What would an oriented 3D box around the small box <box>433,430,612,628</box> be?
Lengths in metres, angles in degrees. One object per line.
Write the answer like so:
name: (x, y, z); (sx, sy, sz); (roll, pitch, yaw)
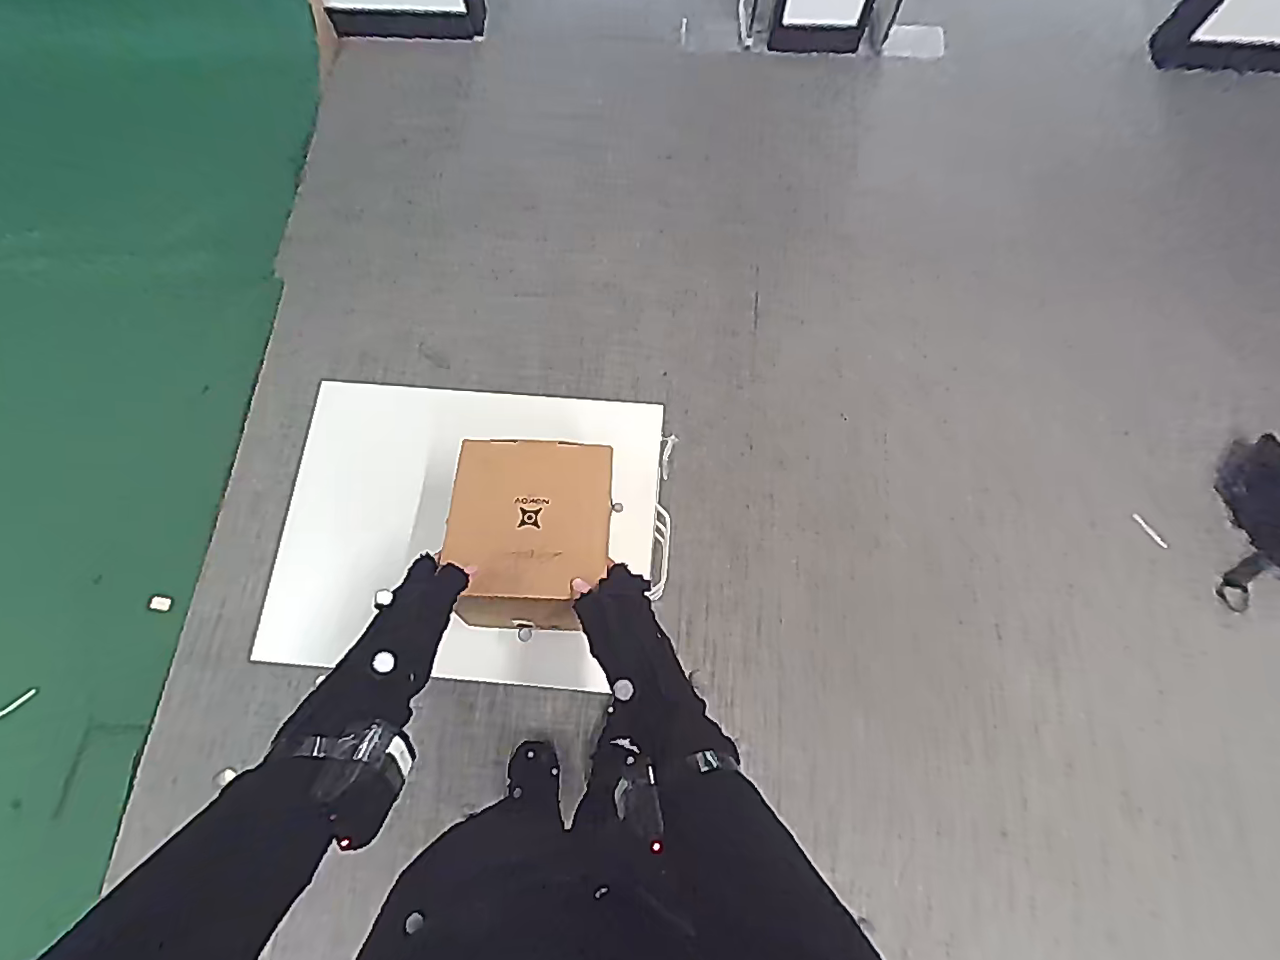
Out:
small box: (-0.118, 0.062, 0.614); (0.168, 0.176, 0.179); (1, 64, -3)
